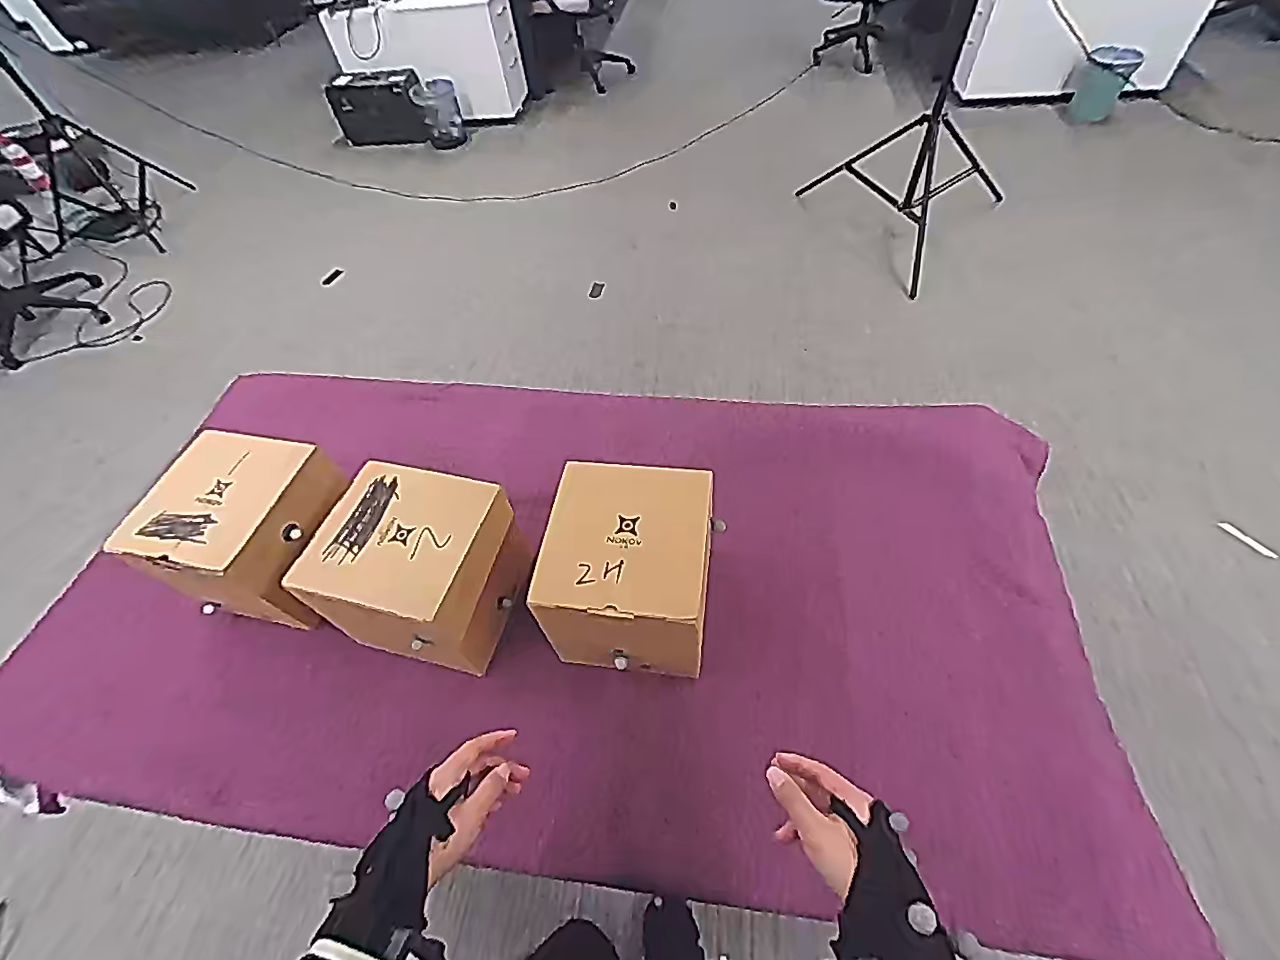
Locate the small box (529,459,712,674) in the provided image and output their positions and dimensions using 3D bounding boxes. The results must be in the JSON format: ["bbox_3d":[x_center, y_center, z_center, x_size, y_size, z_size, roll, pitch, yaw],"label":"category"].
[{"bbox_3d":[-0.009,0.100,0.616,0.168,0.176,0.179,4,54,9],"label":"small box"}]

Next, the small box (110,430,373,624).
[{"bbox_3d":[-0.480,0.064,0.688,0.168,0.176,0.179,8,55,11],"label":"small box"}]
